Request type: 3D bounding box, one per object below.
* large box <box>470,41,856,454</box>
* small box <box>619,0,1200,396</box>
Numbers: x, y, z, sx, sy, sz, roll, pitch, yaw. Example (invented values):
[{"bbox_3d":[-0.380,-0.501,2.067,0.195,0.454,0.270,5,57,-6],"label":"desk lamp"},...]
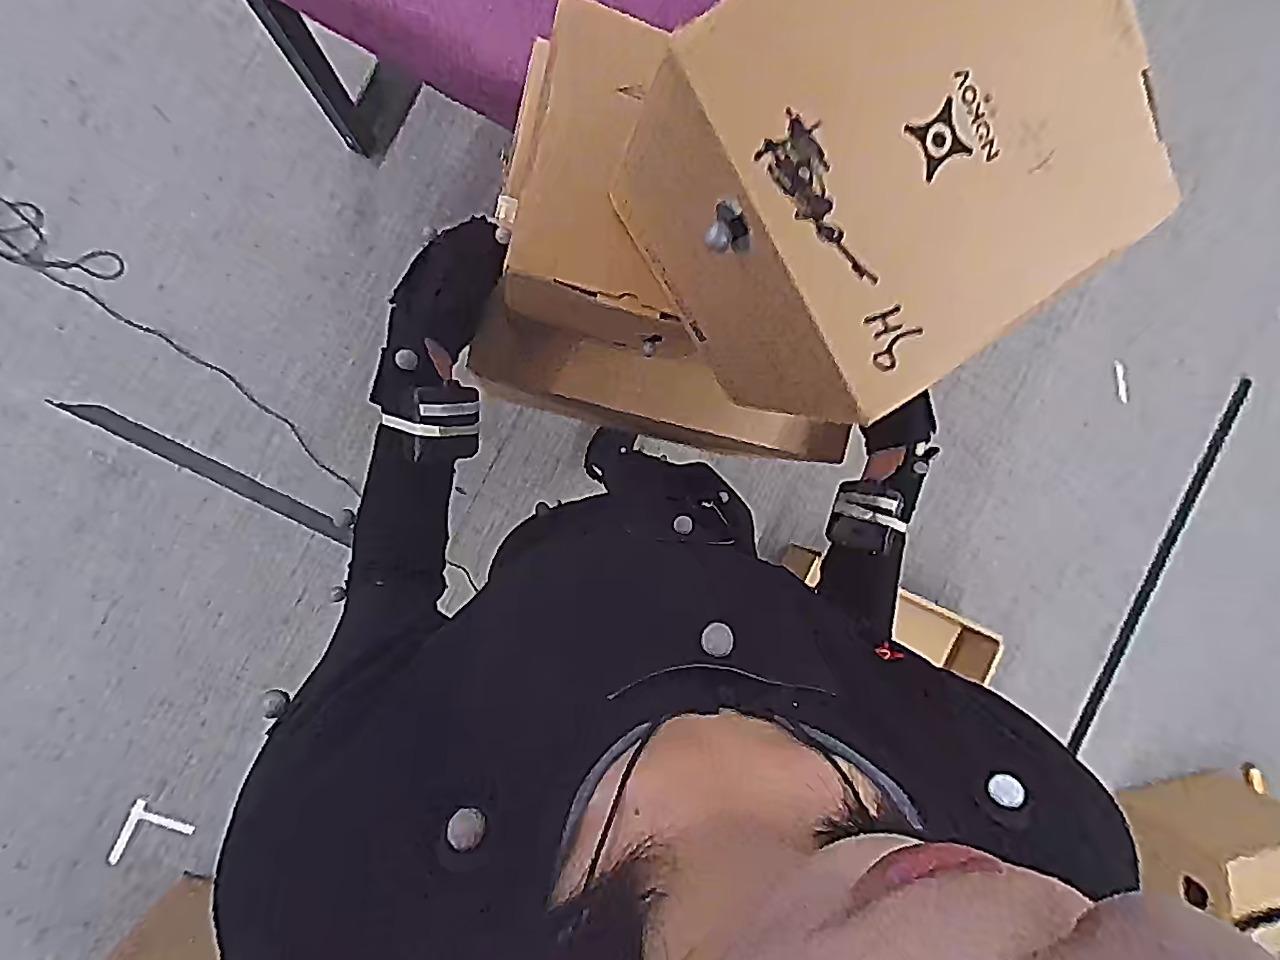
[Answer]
[{"bbox_3d":[0.026,-0.222,0.679,0.408,0.320,0.320,12,91,-14],"label":"large box"},{"bbox_3d":[0.110,-0.159,0.281,0.179,0.176,0.168,-35,104,-4],"label":"small box"}]
